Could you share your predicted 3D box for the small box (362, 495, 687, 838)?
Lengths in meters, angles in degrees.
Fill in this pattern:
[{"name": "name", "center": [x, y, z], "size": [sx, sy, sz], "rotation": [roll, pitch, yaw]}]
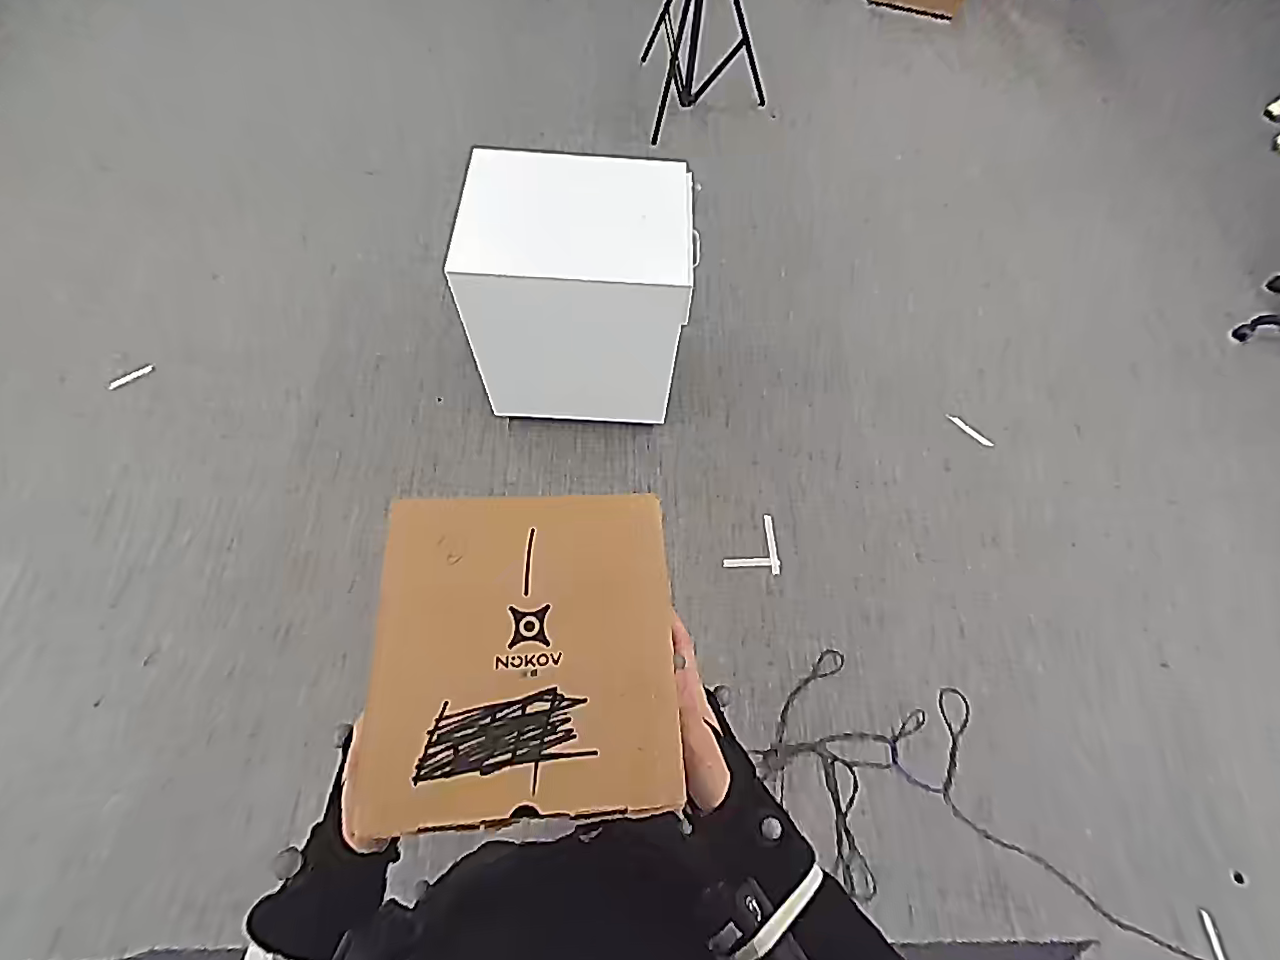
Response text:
[{"name": "small box", "center": [-0.068, 0.123, 0.375], "size": [0.168, 0.176, 0.179], "rotation": [-2, 66, -8]}]
